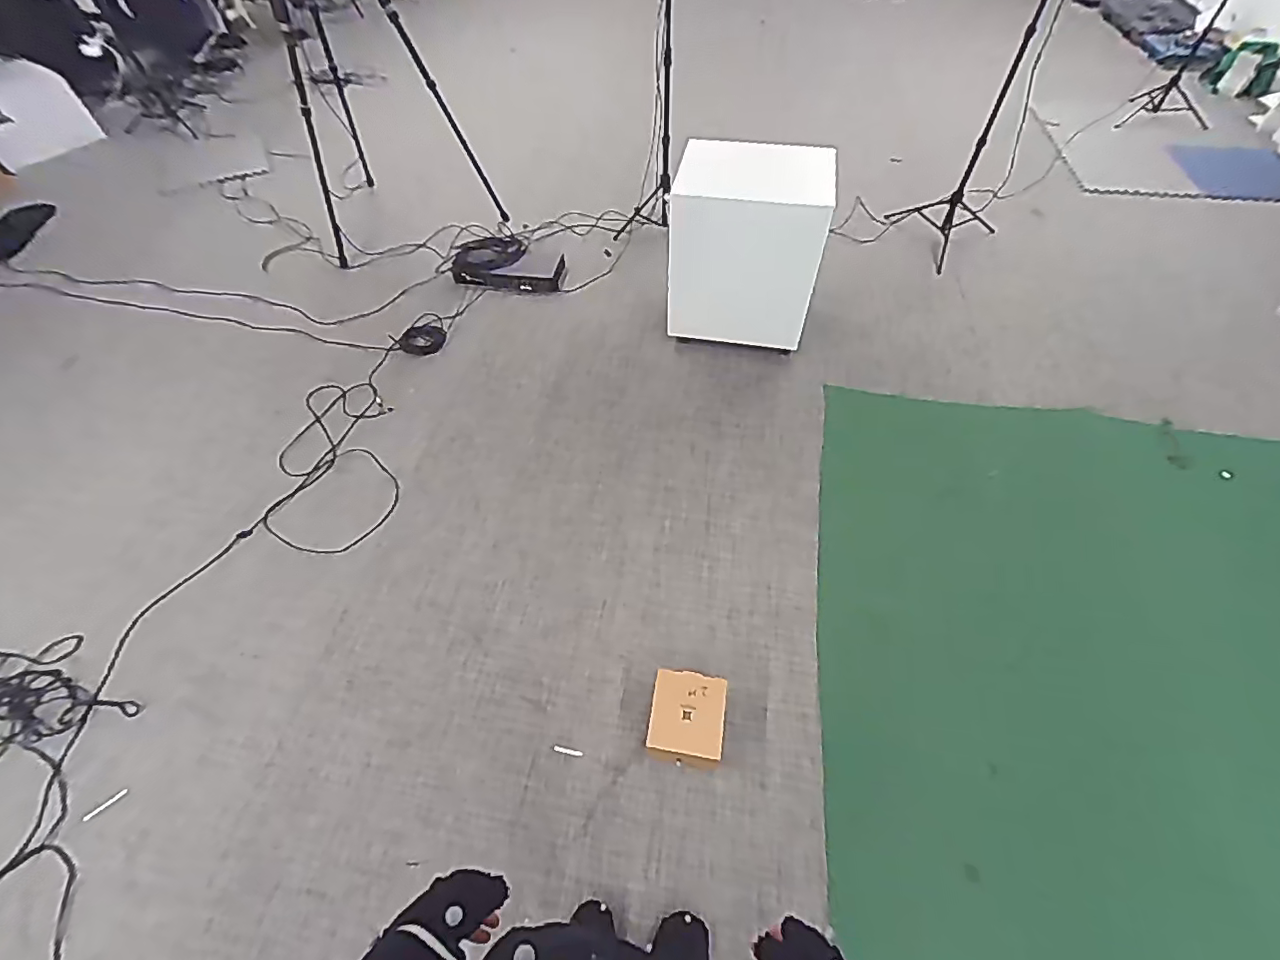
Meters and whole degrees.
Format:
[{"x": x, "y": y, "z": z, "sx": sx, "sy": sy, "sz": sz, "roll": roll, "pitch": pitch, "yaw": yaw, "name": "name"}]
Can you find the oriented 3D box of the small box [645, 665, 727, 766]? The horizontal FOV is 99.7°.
[{"x": 0.109, "y": 0.562, "z": 1.281, "sx": 0.168, "sy": 0.176, "sz": 0.179, "roll": 8, "pitch": 55, "yaw": 7, "name": "small box"}]
